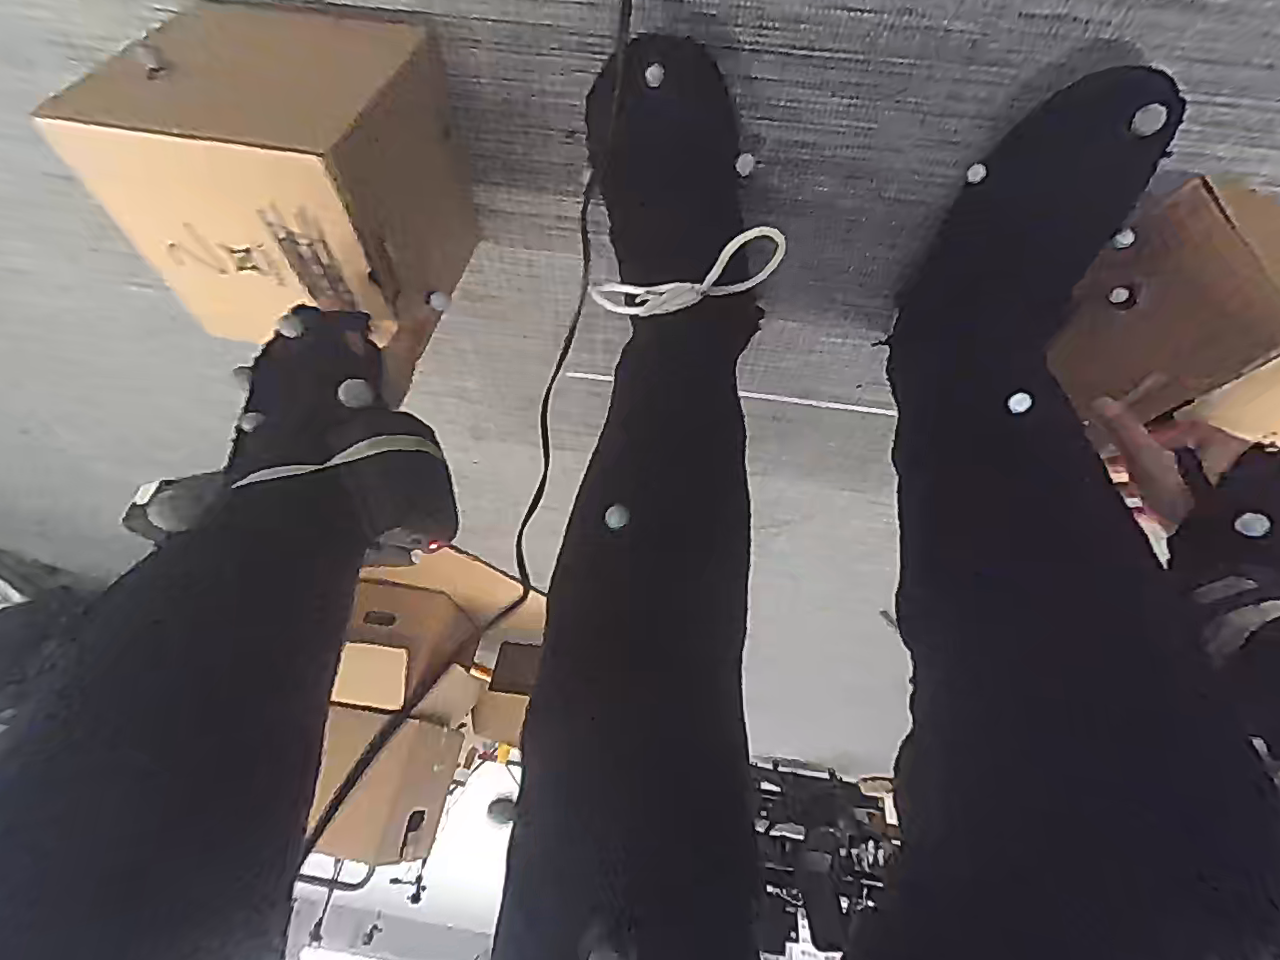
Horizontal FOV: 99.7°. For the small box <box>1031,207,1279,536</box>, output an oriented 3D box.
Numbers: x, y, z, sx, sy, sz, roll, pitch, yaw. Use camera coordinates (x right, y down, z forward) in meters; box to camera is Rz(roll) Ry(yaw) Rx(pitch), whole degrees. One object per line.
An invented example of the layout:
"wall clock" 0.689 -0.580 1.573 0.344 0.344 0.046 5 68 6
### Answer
"small box" 0.461 -0.079 0.426 0.179 0.176 0.168 15 148 -5
